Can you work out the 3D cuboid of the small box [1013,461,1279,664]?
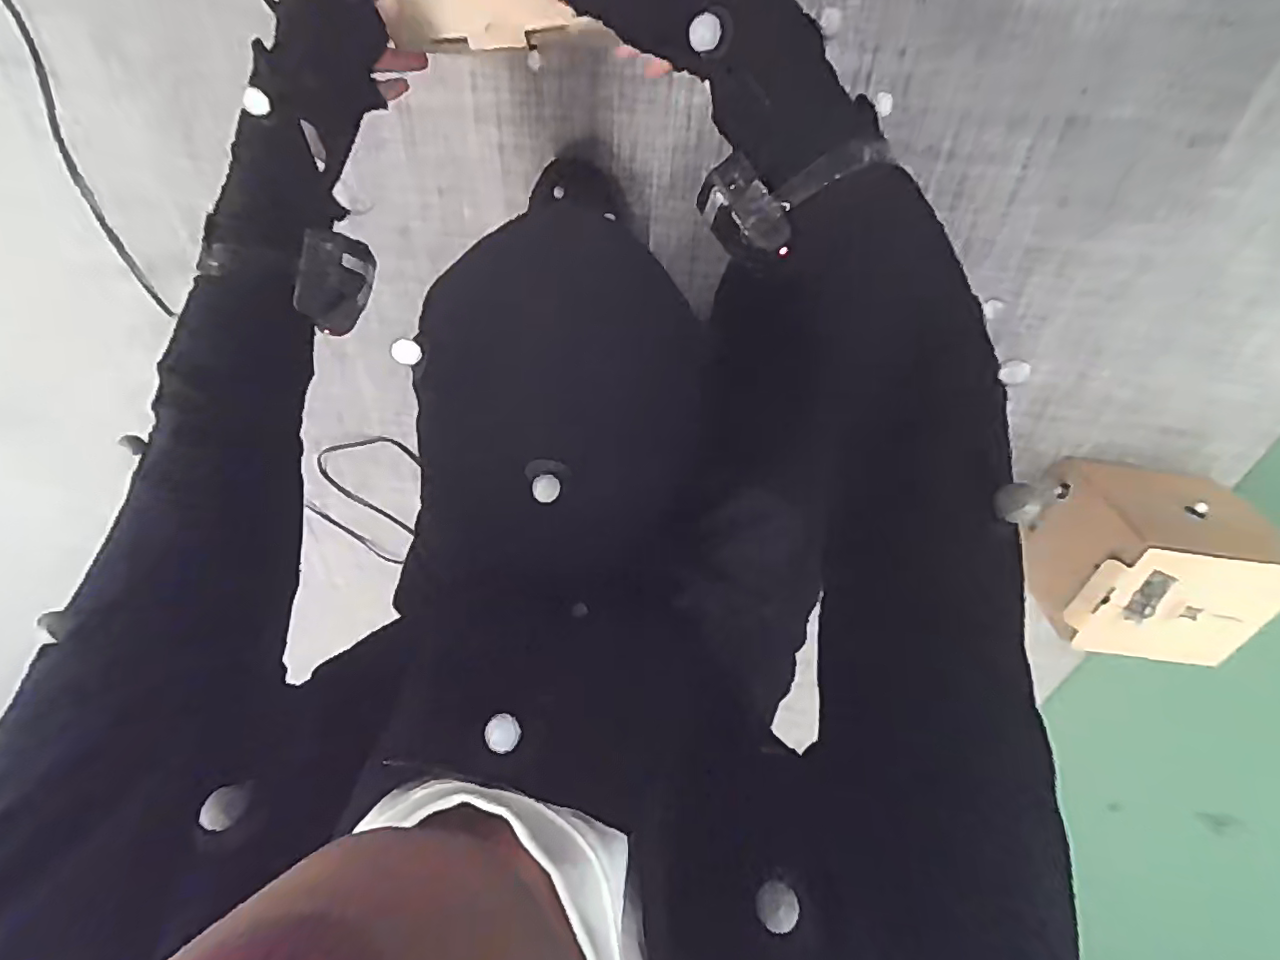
[{"bbox_3d":[0.607,0.093,0.663,0.179,0.176,0.168,8,127,4],"label":"small box"}]
